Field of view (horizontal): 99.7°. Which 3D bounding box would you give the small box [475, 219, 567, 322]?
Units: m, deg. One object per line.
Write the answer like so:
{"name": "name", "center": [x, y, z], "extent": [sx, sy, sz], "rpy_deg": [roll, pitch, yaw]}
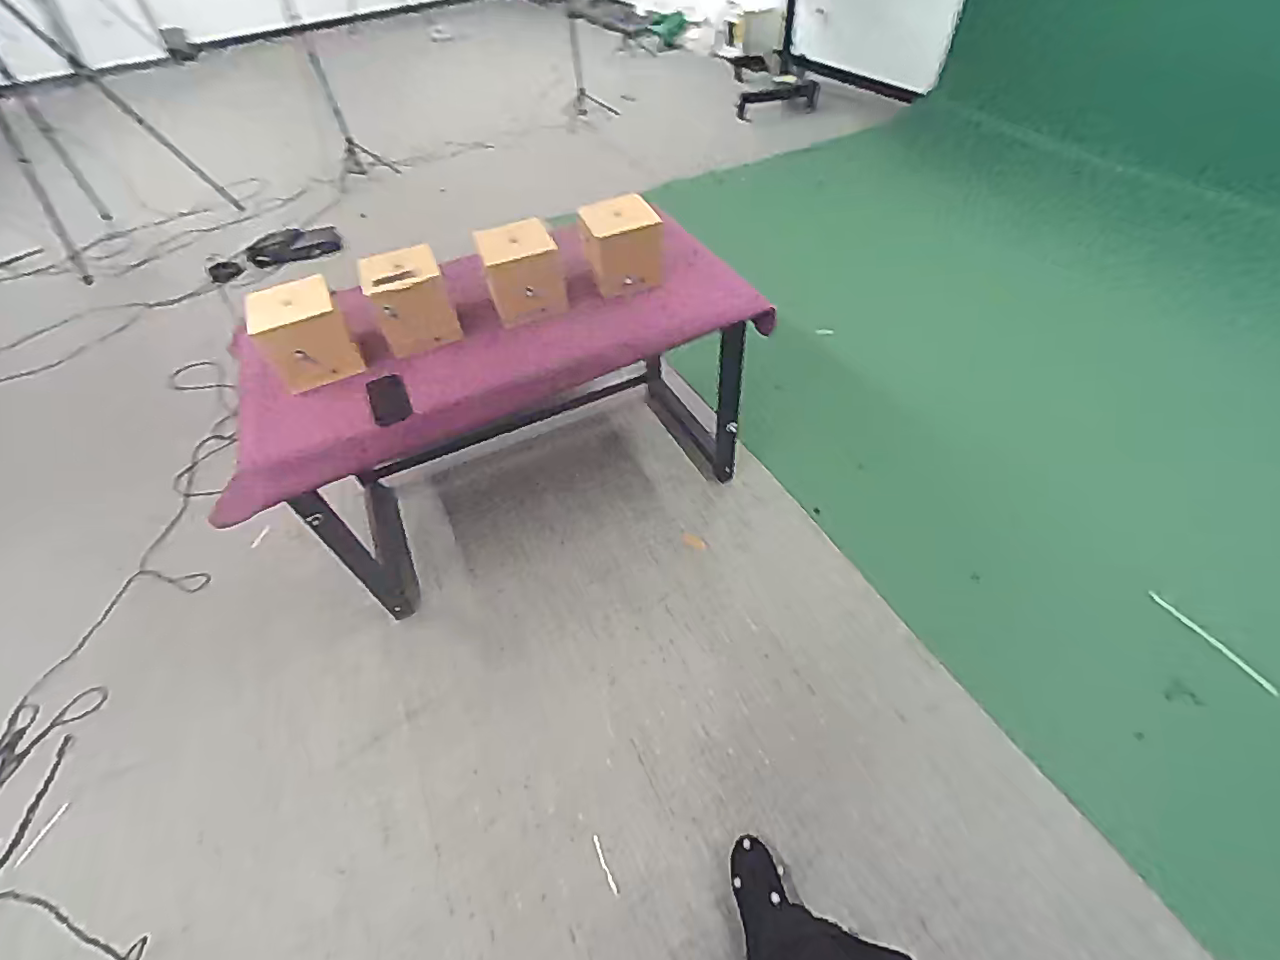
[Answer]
{"name": "small box", "center": [-0.287, -0.506, 1.325], "extent": [0.168, 0.176, 0.179], "rpy_deg": [-19, 51, -11]}

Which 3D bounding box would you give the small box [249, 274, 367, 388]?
{"name": "small box", "center": [-0.742, -0.327, 1.217], "extent": [0.168, 0.176, 0.179], "rpy_deg": [-24, 52, -15]}

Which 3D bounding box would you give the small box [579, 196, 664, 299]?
{"name": "small box", "center": [-0.046, -0.592, 1.378], "extent": [0.168, 0.176, 0.179], "rpy_deg": [-19, 51, -9]}
